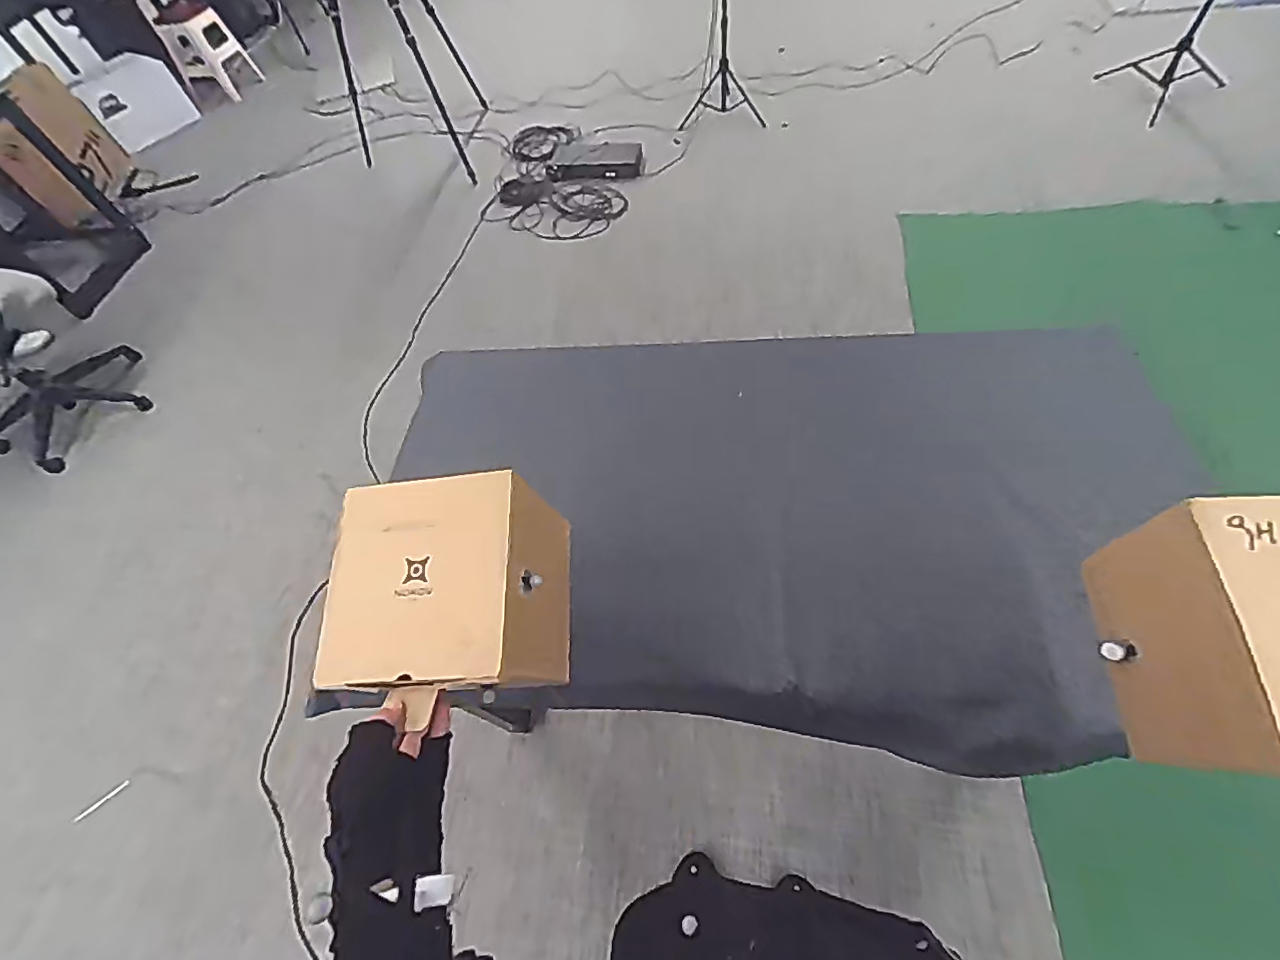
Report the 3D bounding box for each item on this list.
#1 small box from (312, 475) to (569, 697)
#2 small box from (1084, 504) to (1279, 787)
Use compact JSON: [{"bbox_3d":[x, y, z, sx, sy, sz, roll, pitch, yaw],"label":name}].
[{"bbox_3d":[-0.171,0.113,0.523,0.168,0.176,0.179,-6,67,9],"label":"small box"},{"bbox_3d":[0.476,0.126,0.395,0.168,0.176,0.179,-3,65,14],"label":"small box"}]
